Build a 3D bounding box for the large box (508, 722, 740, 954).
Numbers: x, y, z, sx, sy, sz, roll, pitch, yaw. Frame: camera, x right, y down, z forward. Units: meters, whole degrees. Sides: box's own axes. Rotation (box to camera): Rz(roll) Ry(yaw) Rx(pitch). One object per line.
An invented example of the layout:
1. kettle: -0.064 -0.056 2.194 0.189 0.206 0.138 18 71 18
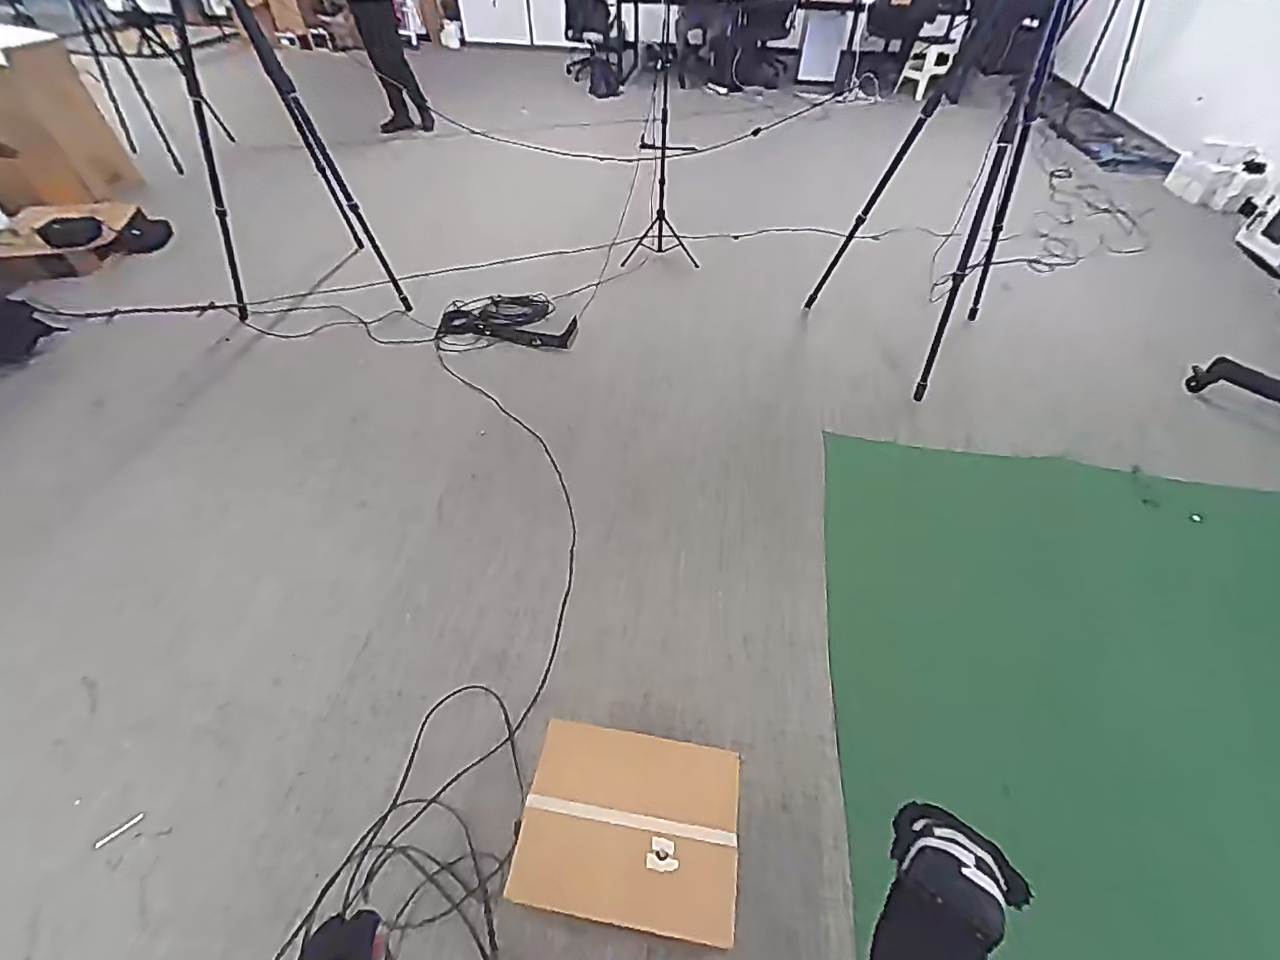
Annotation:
1. large box: -0.021 0.748 1.133 0.408 0.320 0.320 9 48 5
